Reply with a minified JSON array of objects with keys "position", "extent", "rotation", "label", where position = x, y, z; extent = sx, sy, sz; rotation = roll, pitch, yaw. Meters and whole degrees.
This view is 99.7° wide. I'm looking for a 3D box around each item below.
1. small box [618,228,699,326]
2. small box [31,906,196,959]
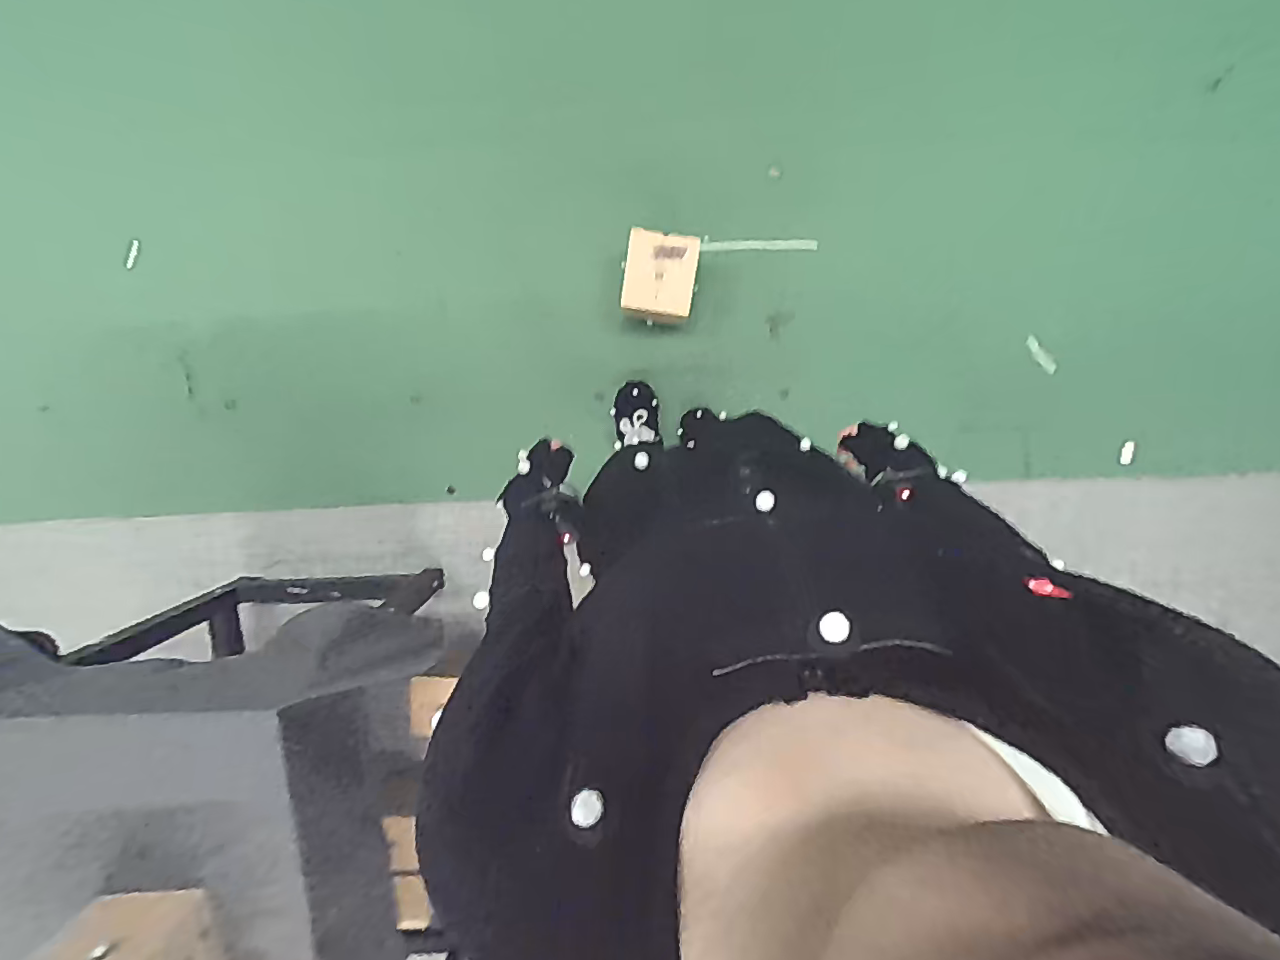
[{"position":[0.040,-0.487,1.320],"extent":[0.168,0.176,0.179],"rotation":[9,99,-2],"label":"small box"},{"position":[-0.747,0.727,0.736],"extent":[0.179,0.176,0.168],"rotation":[-5,98,-1],"label":"small box"}]
